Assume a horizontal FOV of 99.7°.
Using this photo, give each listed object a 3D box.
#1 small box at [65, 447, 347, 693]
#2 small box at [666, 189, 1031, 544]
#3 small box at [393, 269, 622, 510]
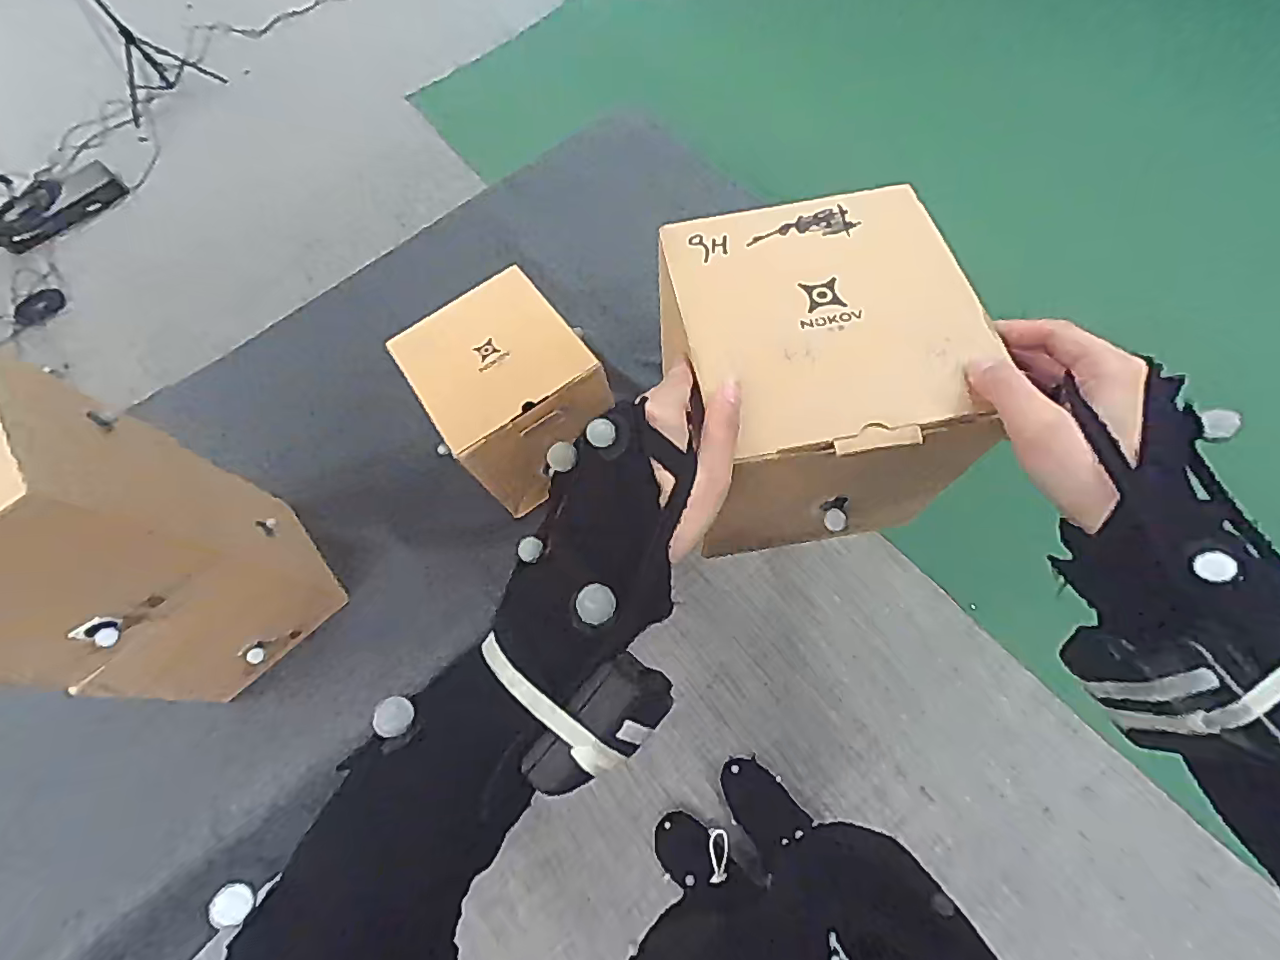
[{"bbox_3d":[-0.460,0.104,0.573,0.168,0.176,0.179,-42,67,-11],"label":"small box"},{"bbox_3d":[0.115,-0.063,0.384,0.168,0.176,0.179,-9,65,0],"label":"small box"},{"bbox_3d":[-0.140,-0.096,0.622,0.168,0.176,0.179,-35,66,-9],"label":"small box"}]
